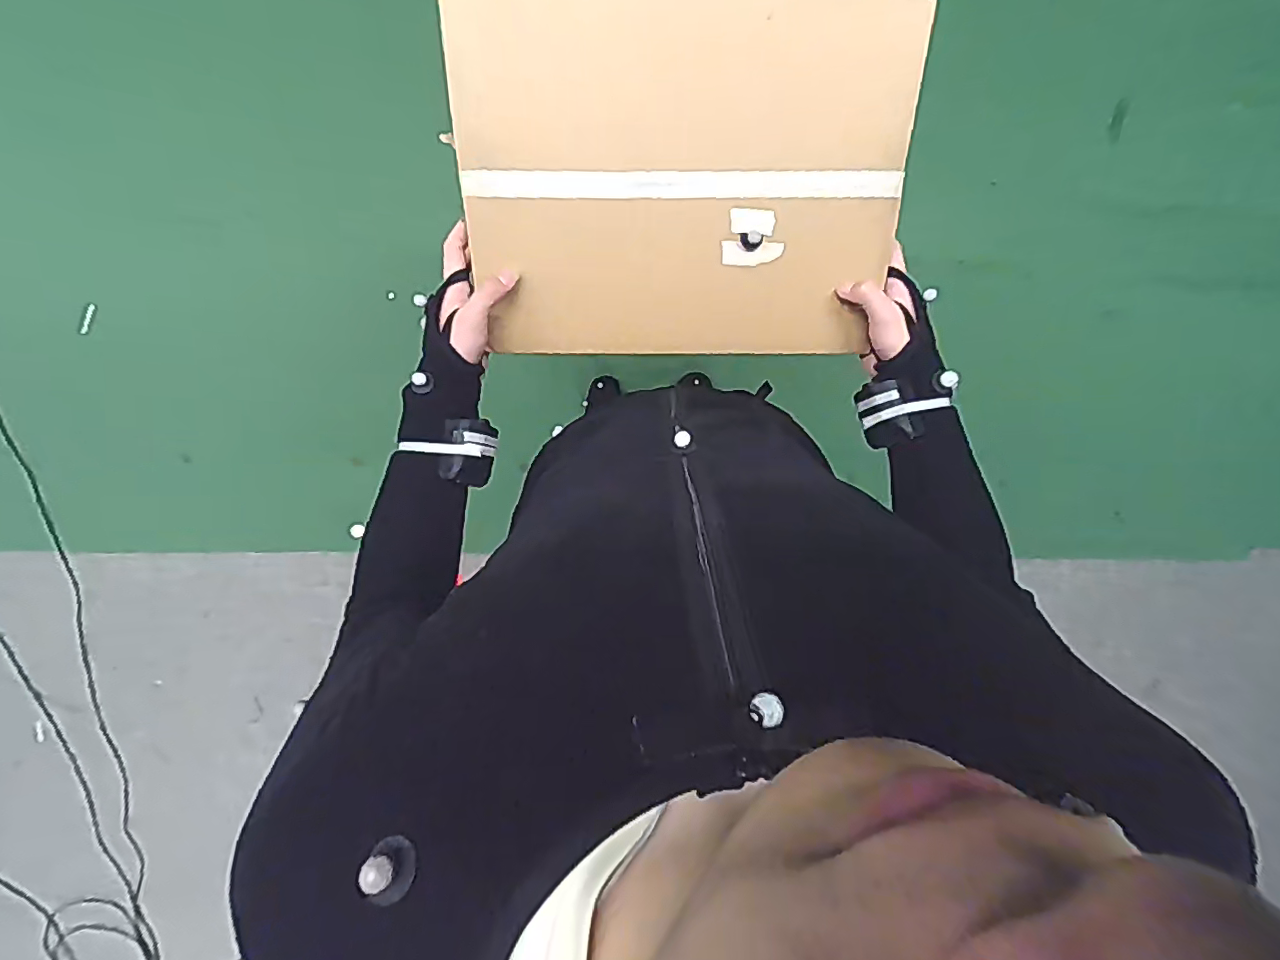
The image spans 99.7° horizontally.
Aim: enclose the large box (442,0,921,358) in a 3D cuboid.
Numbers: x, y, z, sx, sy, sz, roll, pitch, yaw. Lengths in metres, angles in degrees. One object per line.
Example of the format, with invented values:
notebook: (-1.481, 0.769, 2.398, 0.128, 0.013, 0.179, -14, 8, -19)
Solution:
large box: (0.033, -0.337, 0.638, 0.408, 0.320, 0.320, -1, 117, -2)
